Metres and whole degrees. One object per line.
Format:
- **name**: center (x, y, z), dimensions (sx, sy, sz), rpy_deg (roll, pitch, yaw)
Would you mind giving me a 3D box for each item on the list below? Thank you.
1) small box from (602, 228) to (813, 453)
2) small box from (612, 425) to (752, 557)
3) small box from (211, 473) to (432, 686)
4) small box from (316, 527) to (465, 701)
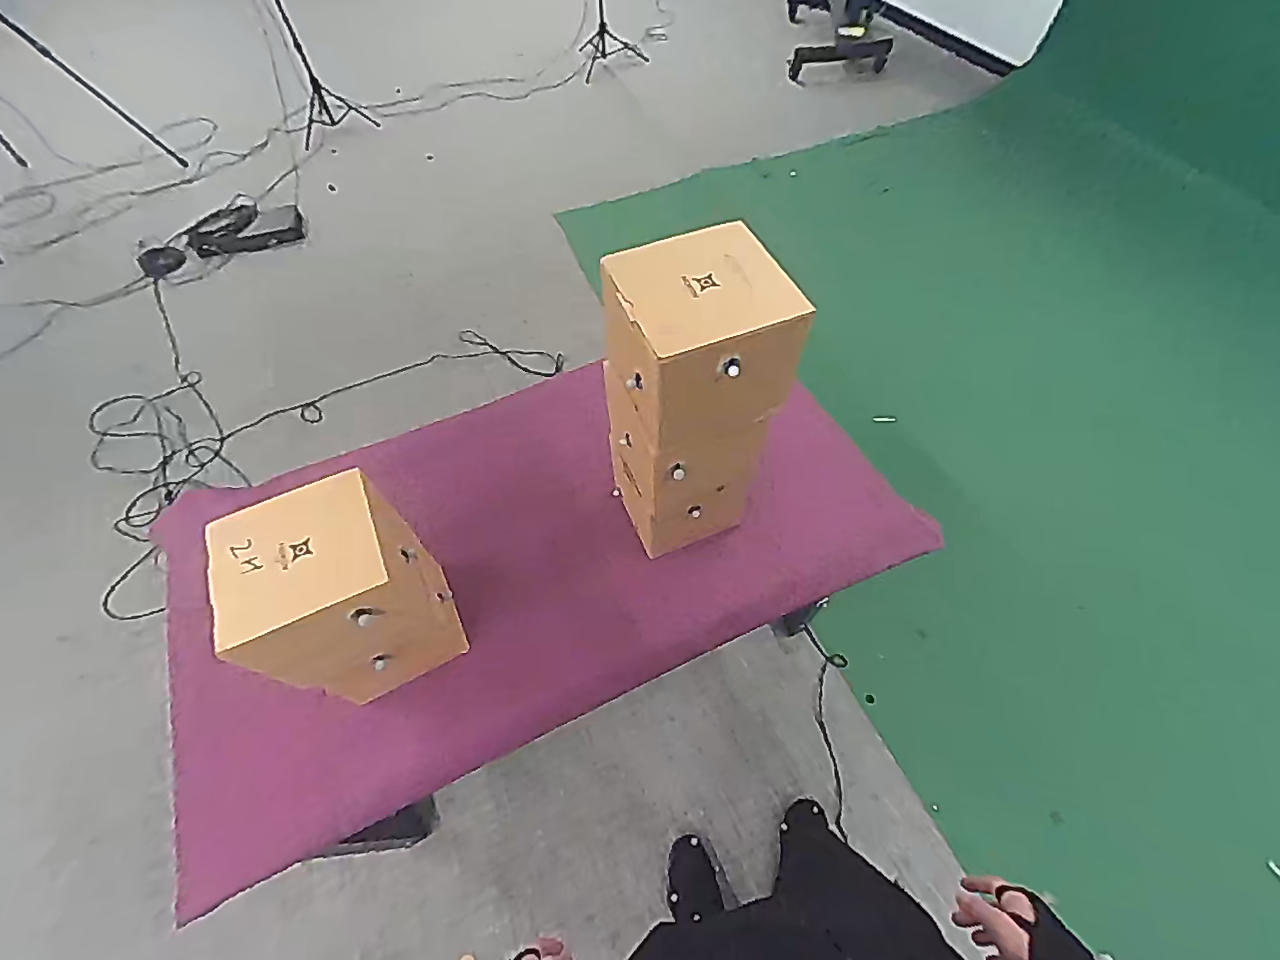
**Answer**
- **small box**: center (0.069, -0.156, 0.633), dimensions (0.179, 0.176, 0.168), rpy_deg (-19, 60, -10)
- **small box**: center (0.066, 0.006, 0.918), dimensions (0.179, 0.176, 0.168), rpy_deg (-20, 60, -12)
- **small box**: center (-0.372, 0.125, 0.659), dimensions (0.179, 0.176, 0.168), rpy_deg (-23, 60, -13)
- **small box**: center (-0.378, 0.203, 0.806), dimensions (0.179, 0.176, 0.168), rpy_deg (-25, 61, -13)
